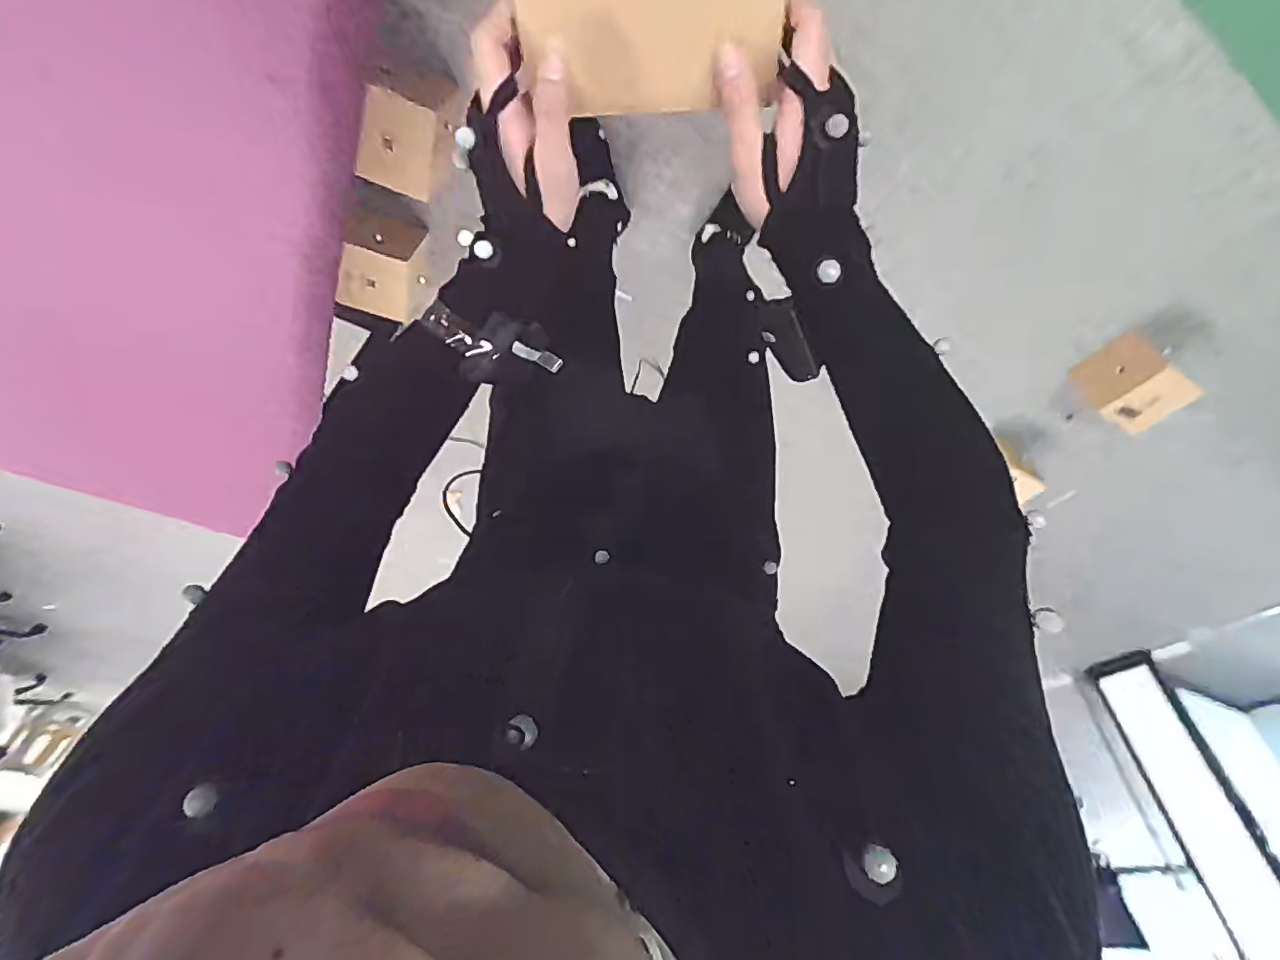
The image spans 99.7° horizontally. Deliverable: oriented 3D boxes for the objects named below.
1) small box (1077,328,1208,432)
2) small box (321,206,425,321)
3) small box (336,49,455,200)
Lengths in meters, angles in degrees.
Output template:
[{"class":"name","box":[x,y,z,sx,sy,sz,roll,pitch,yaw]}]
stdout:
[{"class":"small box","box":[1.309,-0.264,1.428,0.168,0.176,0.179,22,134,-21]},{"class":"small box","box":[-0.617,-0.509,1.267,0.179,0.176,0.168,15,136,-13]},{"class":"small box","box":[-0.472,-0.695,1.054,0.168,0.176,0.179,17,137,-14]}]
